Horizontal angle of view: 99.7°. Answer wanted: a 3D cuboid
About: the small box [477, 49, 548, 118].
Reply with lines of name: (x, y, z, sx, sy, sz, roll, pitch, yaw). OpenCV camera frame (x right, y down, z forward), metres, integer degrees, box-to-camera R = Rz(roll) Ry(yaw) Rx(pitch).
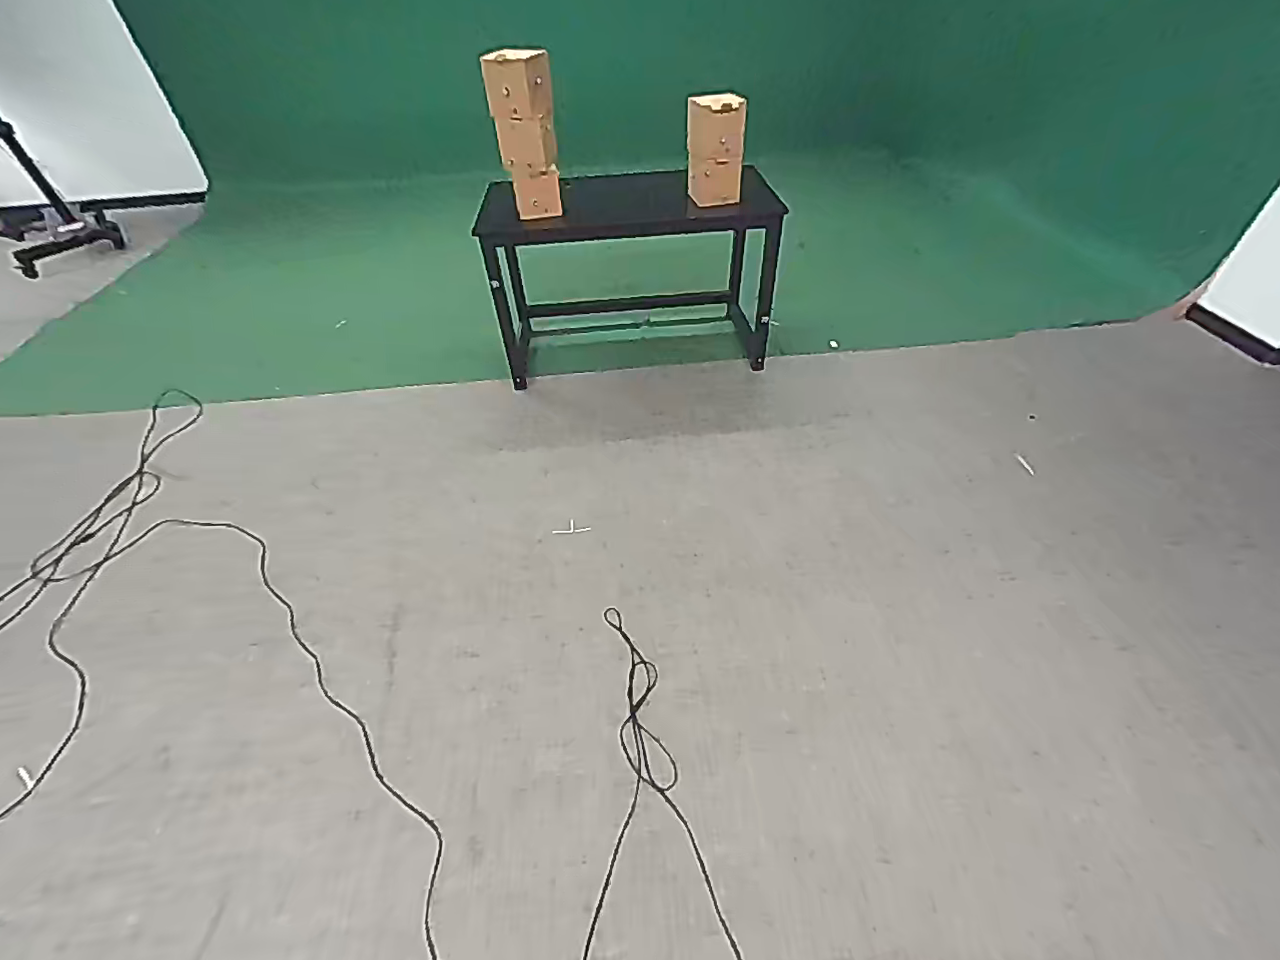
small box: (-0.433, -1.375, 1.876, 0.168, 0.176, 0.179, 13, 49, 14)

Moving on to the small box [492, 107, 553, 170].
small box: (-0.424, -1.254, 1.988, 0.168, 0.176, 0.179, 5, 45, 7)

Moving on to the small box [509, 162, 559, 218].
small box: (-0.414, -1.139, 2.104, 0.168, 0.176, 0.179, -11, 47, -8)

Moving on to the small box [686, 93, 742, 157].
small box: (0.269, -1.320, 2.010, 0.168, 0.176, 0.179, -11, 45, -7)
